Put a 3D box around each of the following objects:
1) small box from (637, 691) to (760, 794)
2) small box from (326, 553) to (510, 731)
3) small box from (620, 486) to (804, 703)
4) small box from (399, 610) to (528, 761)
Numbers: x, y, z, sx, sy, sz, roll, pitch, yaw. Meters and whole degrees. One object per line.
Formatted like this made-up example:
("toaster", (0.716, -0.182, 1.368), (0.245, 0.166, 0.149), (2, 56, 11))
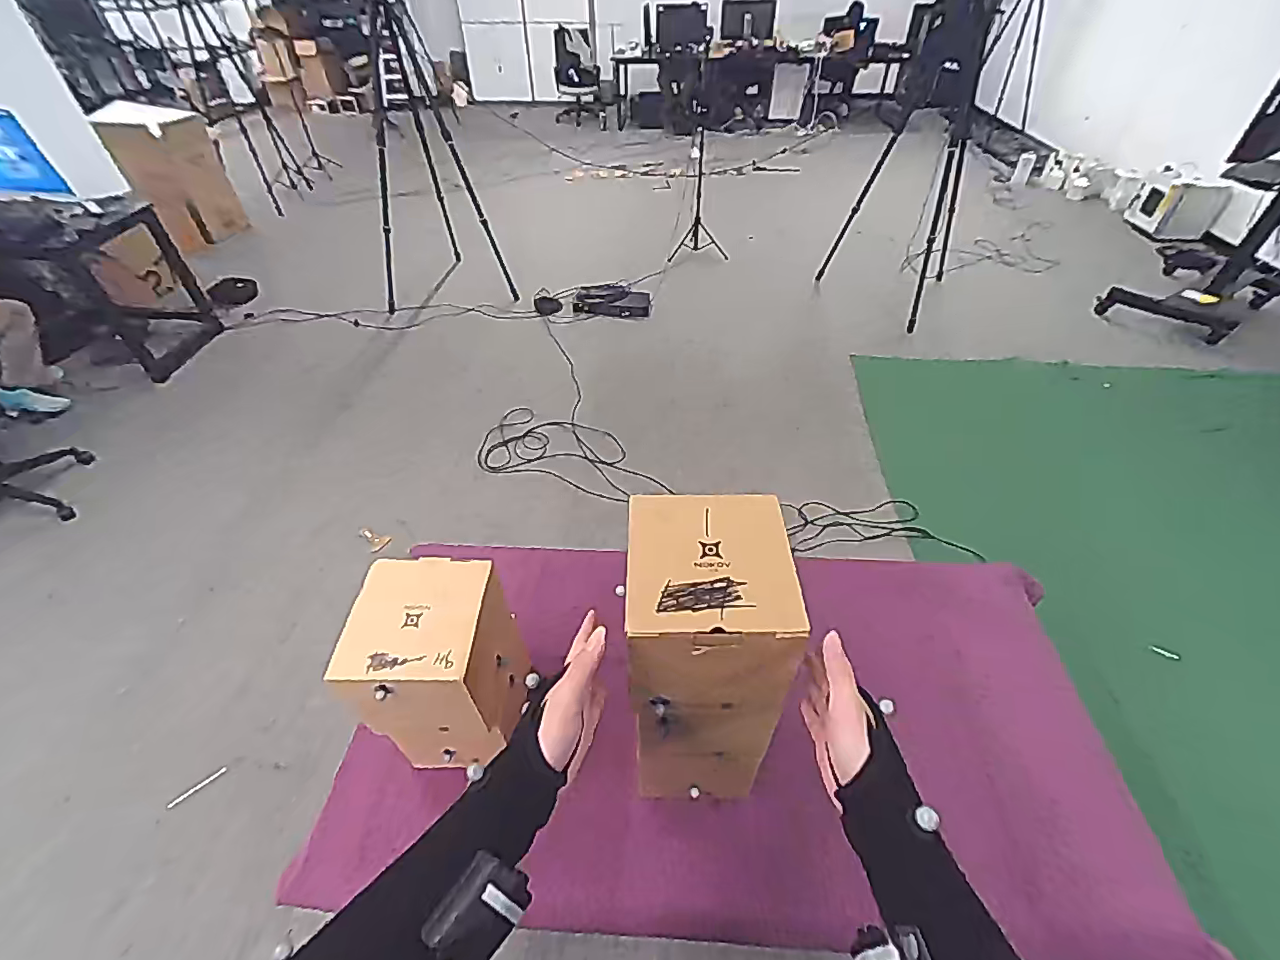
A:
("small box", (0.082, 0.355, 0.825), (0.168, 0.176, 0.179), (0, 45, 2))
("small box", (-0.282, 0.220, 0.740), (0.168, 0.176, 0.179), (0, 44, 1))
("small box", (0.068, 0.125, 0.589), (0.168, 0.176, 0.179), (0, 42, 1))
("small box", (-0.279, 0.327, 0.864), (0.168, 0.176, 0.179), (-1, 45, 0))
